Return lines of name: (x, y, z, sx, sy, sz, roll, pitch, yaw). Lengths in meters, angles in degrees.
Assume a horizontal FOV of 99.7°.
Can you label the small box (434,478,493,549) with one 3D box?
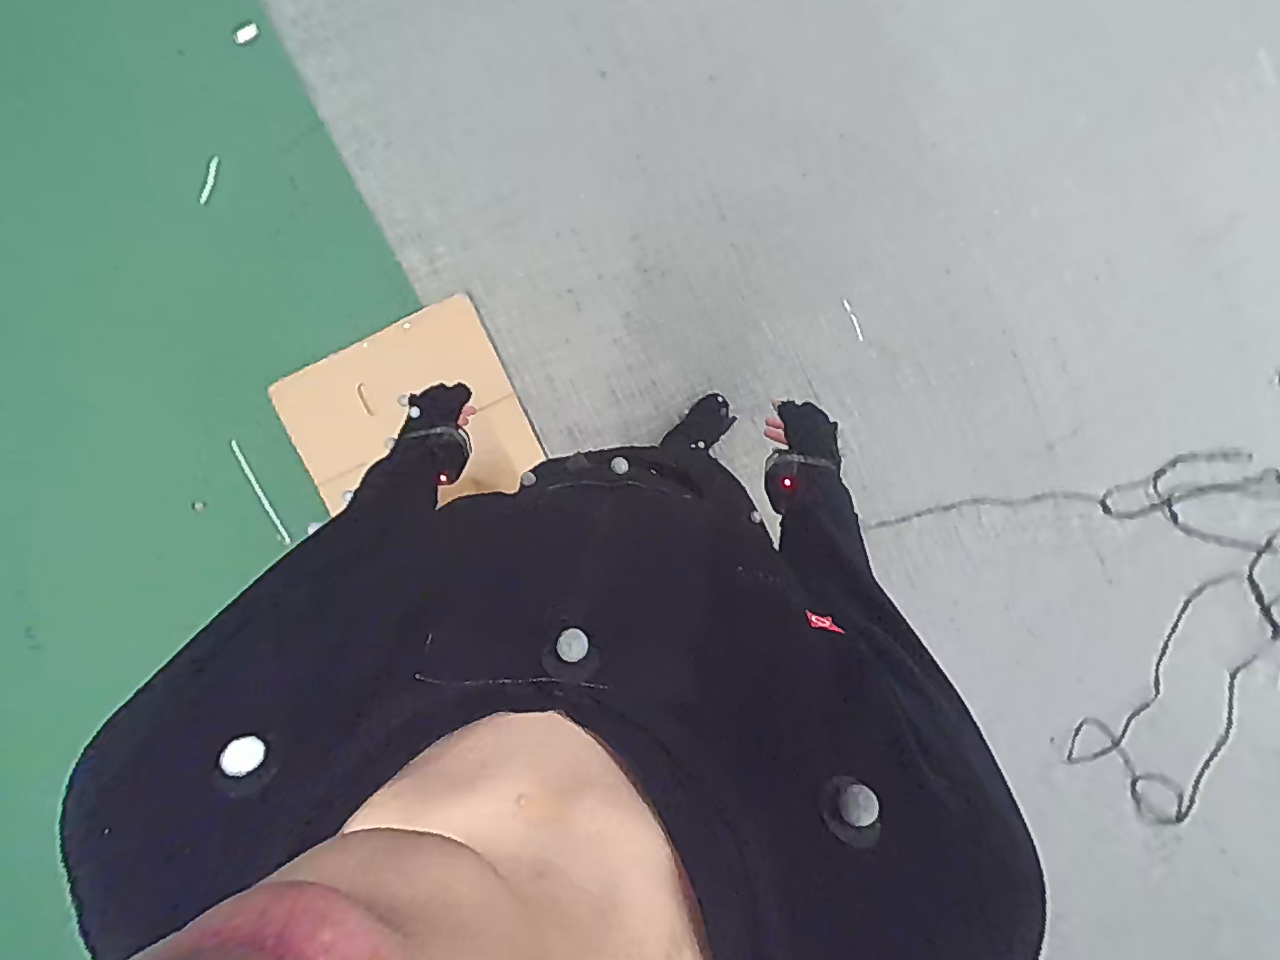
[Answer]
small box: (-0.508, 0.110, 1.392, 0.179, 0.176, 0.168, -26, 97, 4)
